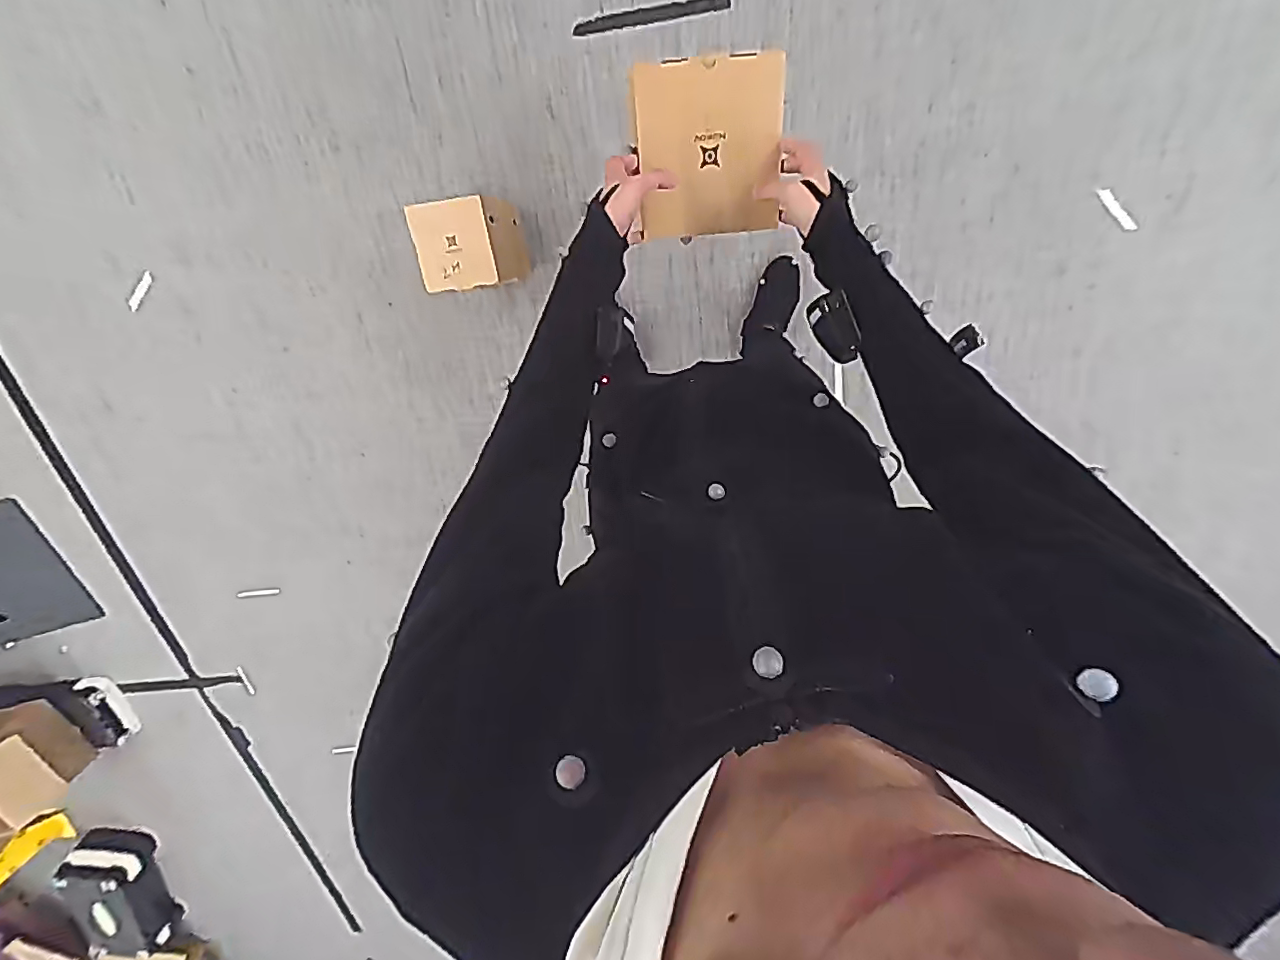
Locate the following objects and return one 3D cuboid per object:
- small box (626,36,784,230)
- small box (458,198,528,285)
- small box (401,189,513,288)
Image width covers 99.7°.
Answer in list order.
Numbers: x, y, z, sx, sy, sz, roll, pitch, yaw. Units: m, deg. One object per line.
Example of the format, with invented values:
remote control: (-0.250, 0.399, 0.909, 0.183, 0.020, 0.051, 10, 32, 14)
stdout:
small box: (0.072, -0.417, 0.672, 0.168, 0.176, 0.179, -5, 117, -1)
small box: (-0.391, -0.593, 1.351, 0.168, 0.176, 0.179, -6, 114, 5)
small box: (-0.396, -0.532, 1.198, 0.168, 0.176, 0.179, -6, 115, 5)
